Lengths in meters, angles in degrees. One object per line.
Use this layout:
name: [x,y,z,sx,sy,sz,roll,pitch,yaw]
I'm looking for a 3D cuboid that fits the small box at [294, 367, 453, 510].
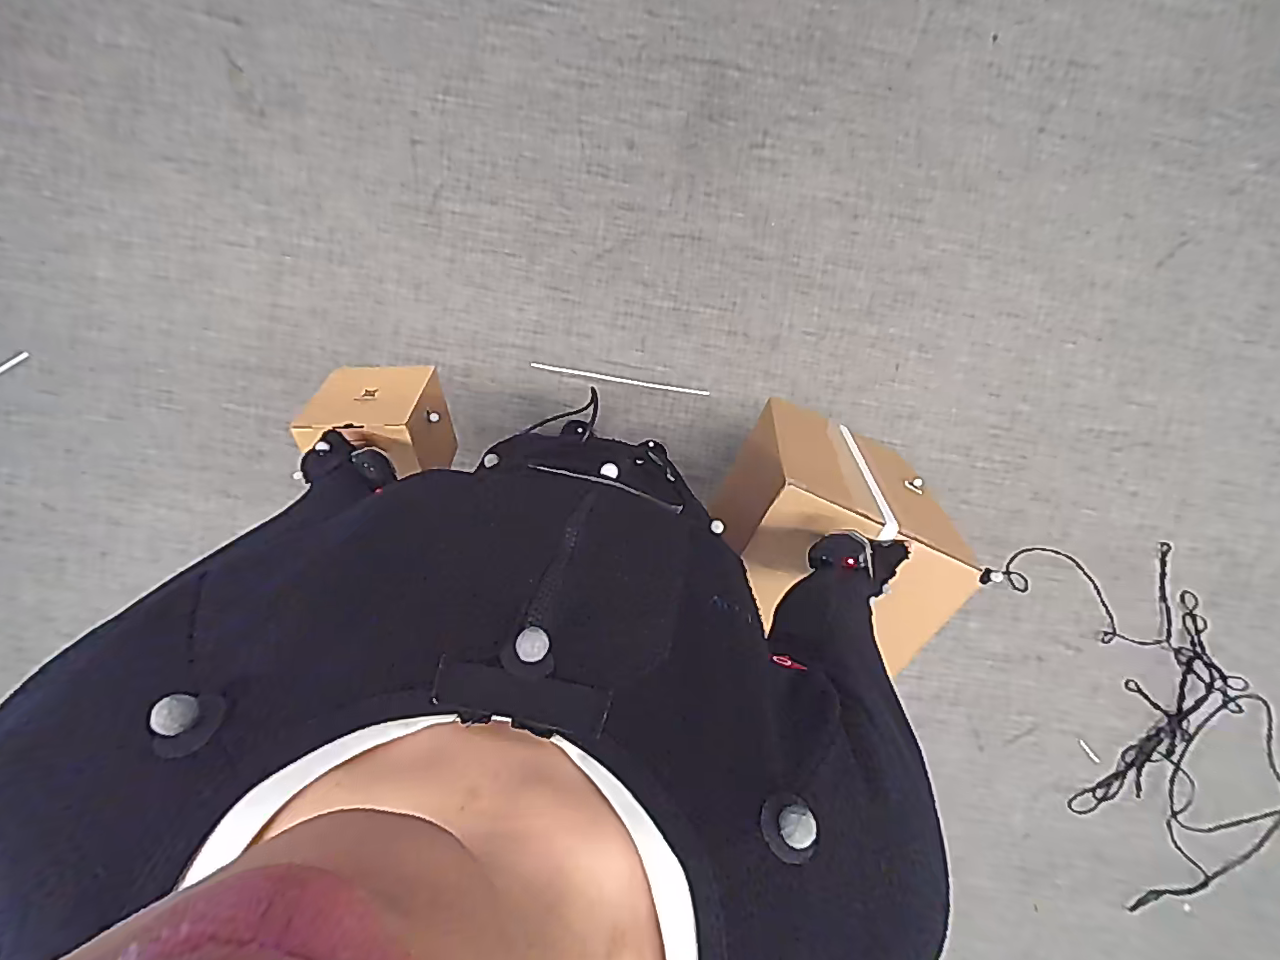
small box: [-0.418,-0.070,0.887,0.168,0.179,0.176,-2,131,-1]
